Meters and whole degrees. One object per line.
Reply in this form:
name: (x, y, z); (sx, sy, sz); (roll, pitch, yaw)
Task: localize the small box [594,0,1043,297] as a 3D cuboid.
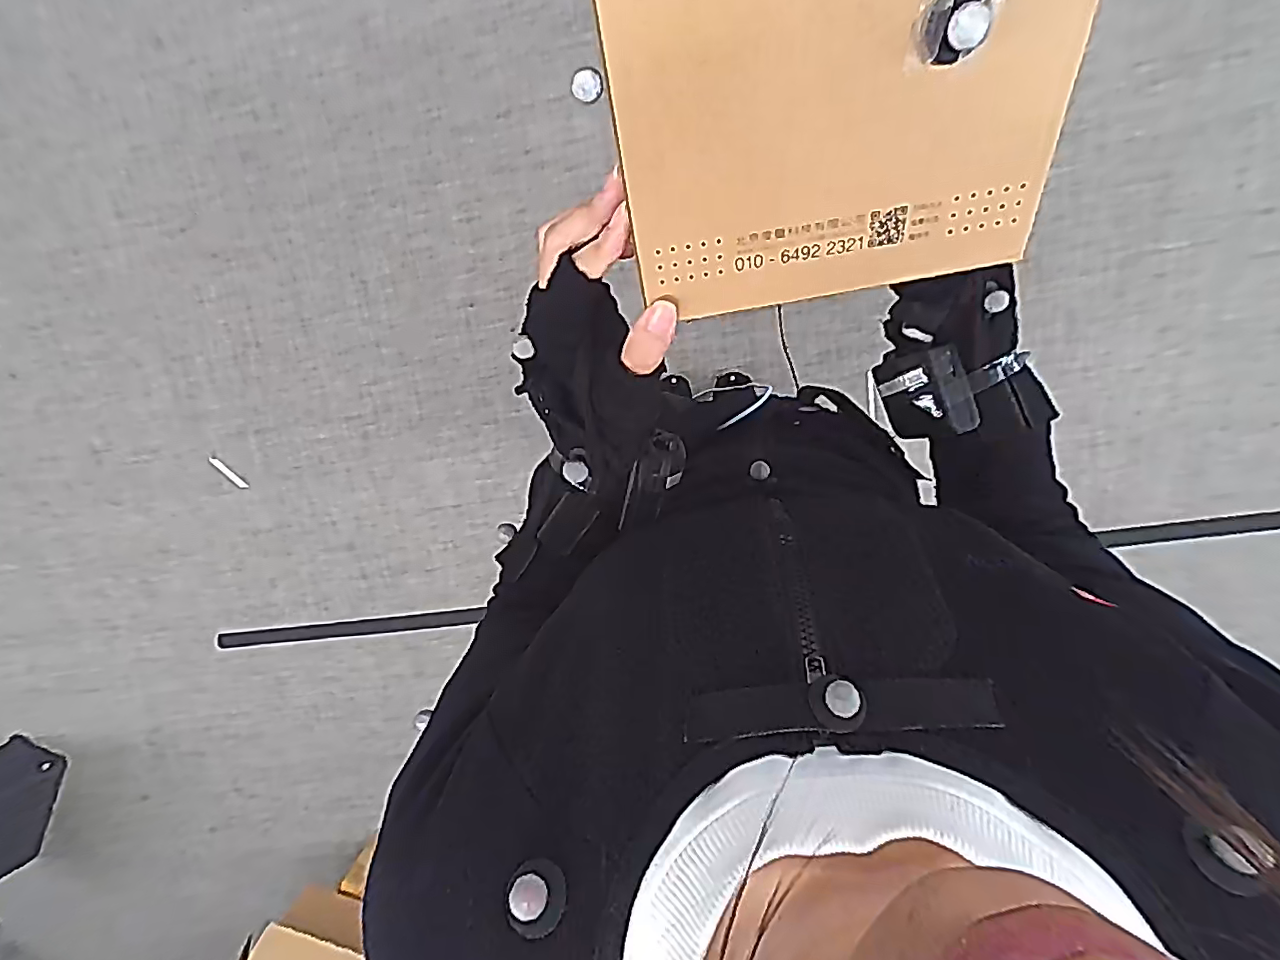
small box: (0.070, -0.204, 0.269); (0.168, 0.179, 0.176); (-8, 131, 5)
